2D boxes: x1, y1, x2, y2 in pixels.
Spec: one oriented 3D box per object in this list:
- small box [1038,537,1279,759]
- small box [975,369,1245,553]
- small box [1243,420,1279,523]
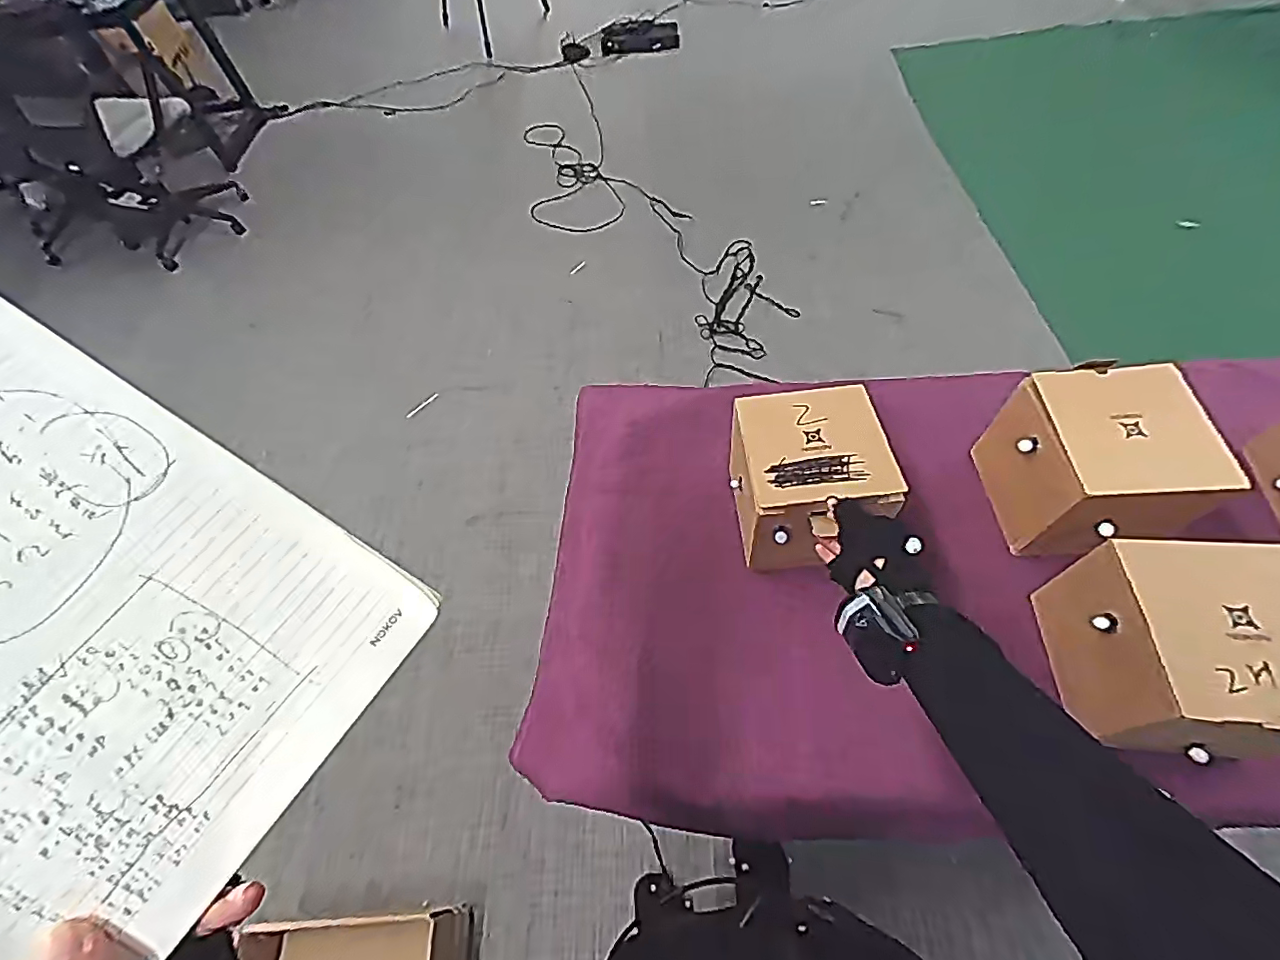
[{"bbox_3d":[0.559,0.177,0.562,0.168,0.176,0.179,1,58,8],"label":"small box"},{"bbox_3d":[0.566,-0.015,0.686,0.168,0.176,0.179,-3,57,5],"label":"small box"},{"bbox_3d":[0.904,-0.011,0.639,0.168,0.176,0.179,3,59,9],"label":"small box"}]
